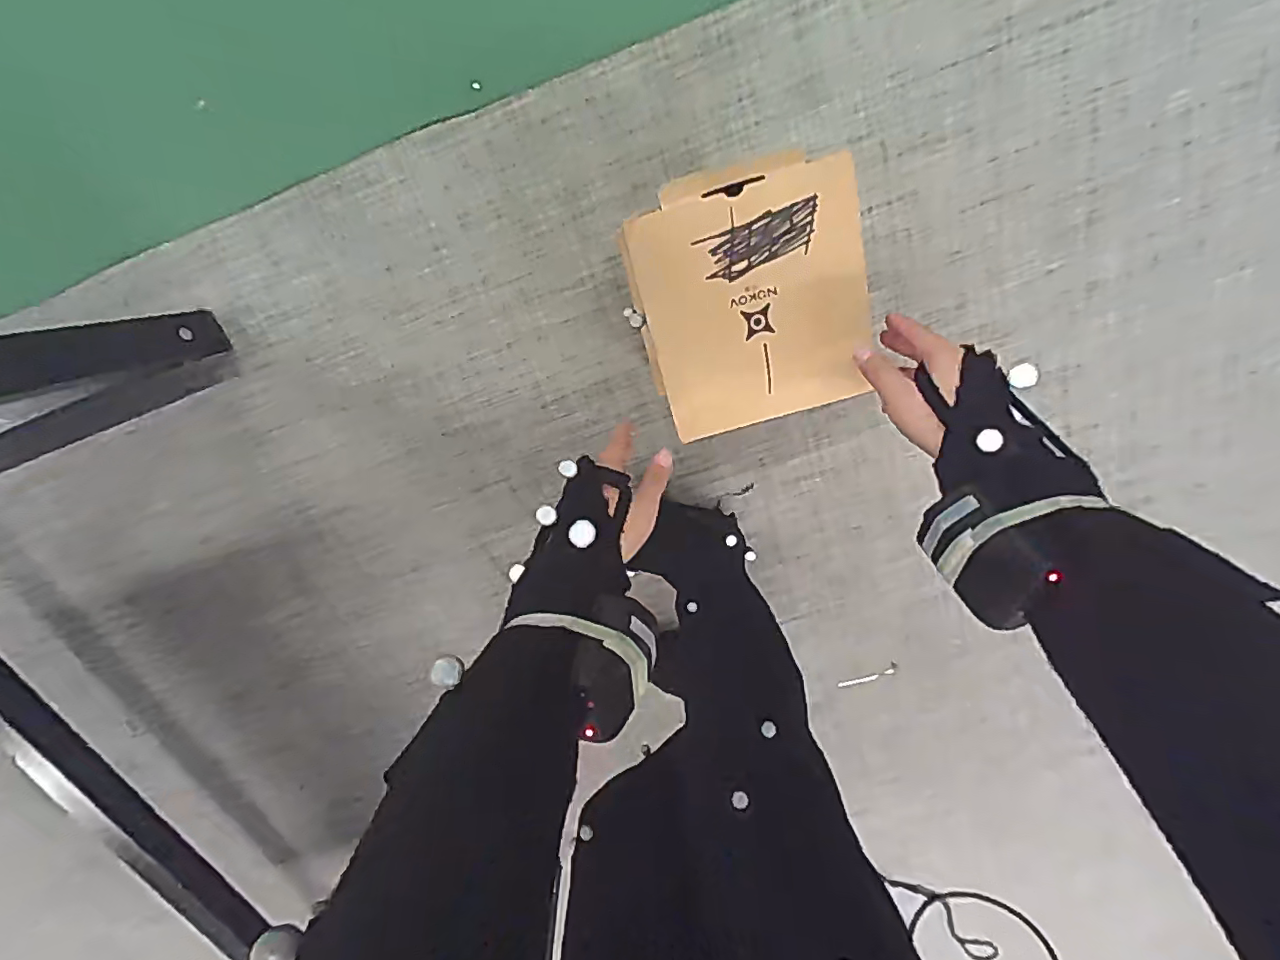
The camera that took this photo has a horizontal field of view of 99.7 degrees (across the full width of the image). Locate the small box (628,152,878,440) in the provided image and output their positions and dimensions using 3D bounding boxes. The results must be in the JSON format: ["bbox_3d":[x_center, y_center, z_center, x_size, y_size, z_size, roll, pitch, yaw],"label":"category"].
[{"bbox_3d":[0.088,-0.158,0.482,0.168,0.176,0.179,-15,112,6],"label":"small box"}]
